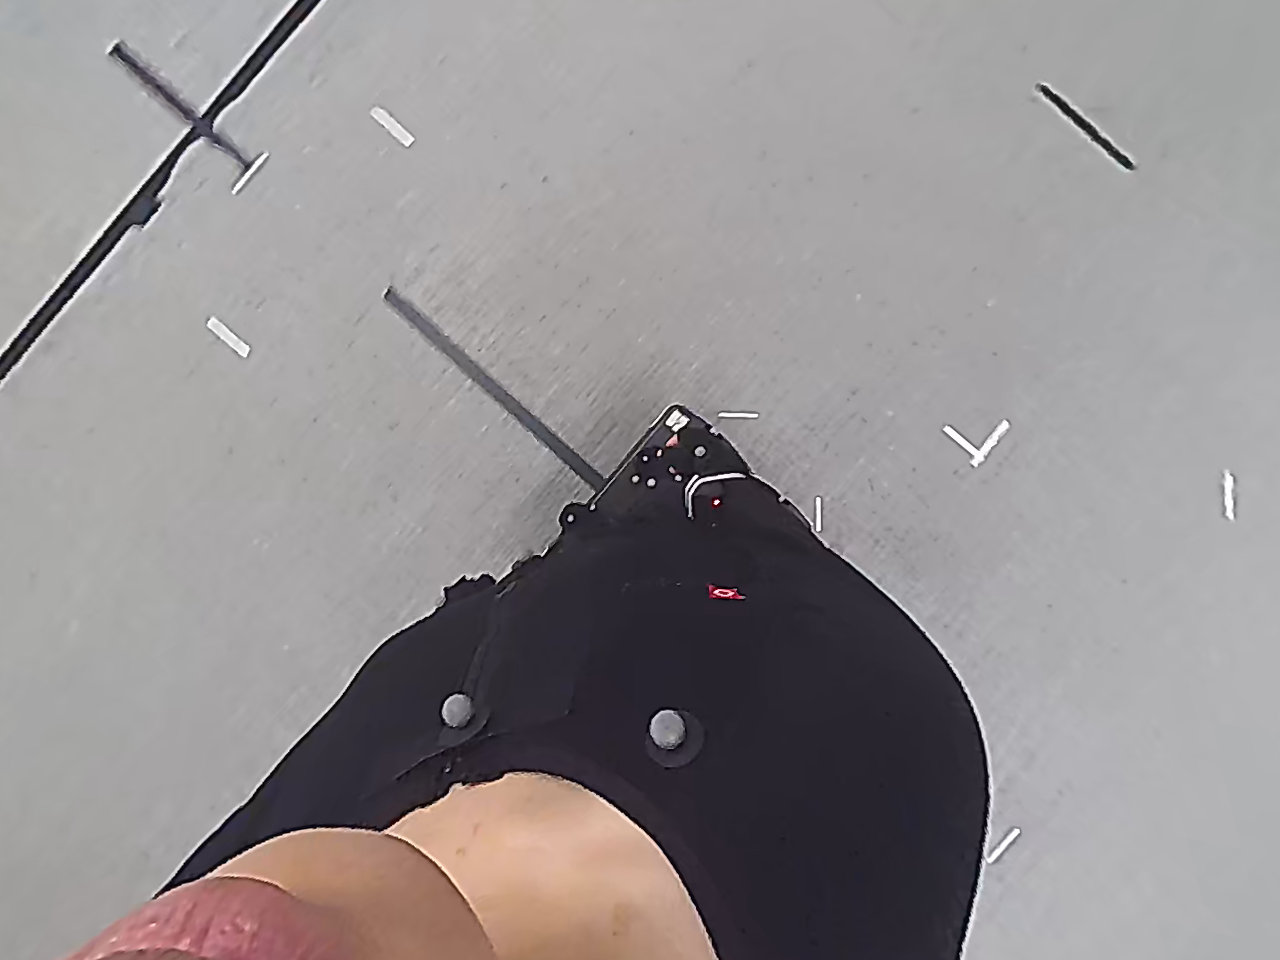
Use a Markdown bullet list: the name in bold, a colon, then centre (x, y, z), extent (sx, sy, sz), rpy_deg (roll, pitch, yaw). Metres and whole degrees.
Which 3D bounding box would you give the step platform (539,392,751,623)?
- **step platform**: centre (0.013, 0.076, 1.577), extent (0.286, 0.204, 0.684), rpy_deg (39, 89, -2)
